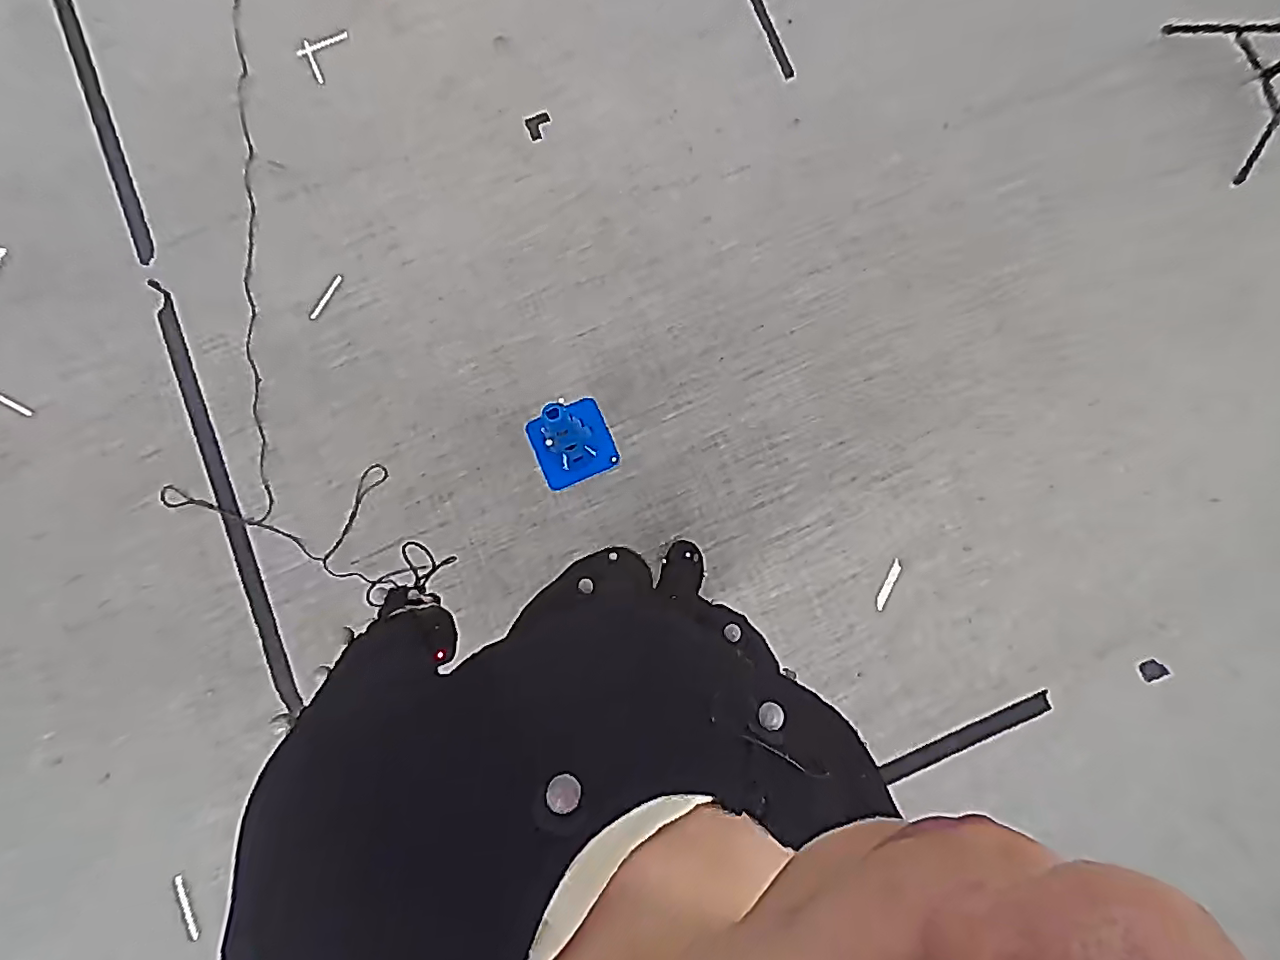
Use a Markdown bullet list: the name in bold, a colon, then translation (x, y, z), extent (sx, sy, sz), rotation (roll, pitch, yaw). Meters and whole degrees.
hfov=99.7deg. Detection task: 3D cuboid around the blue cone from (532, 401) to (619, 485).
- **blue cone**: translation (-0.168, -0.113, 1.234), extent (0.192, 0.380, 0.193), rotation (-22, 85, -4)
